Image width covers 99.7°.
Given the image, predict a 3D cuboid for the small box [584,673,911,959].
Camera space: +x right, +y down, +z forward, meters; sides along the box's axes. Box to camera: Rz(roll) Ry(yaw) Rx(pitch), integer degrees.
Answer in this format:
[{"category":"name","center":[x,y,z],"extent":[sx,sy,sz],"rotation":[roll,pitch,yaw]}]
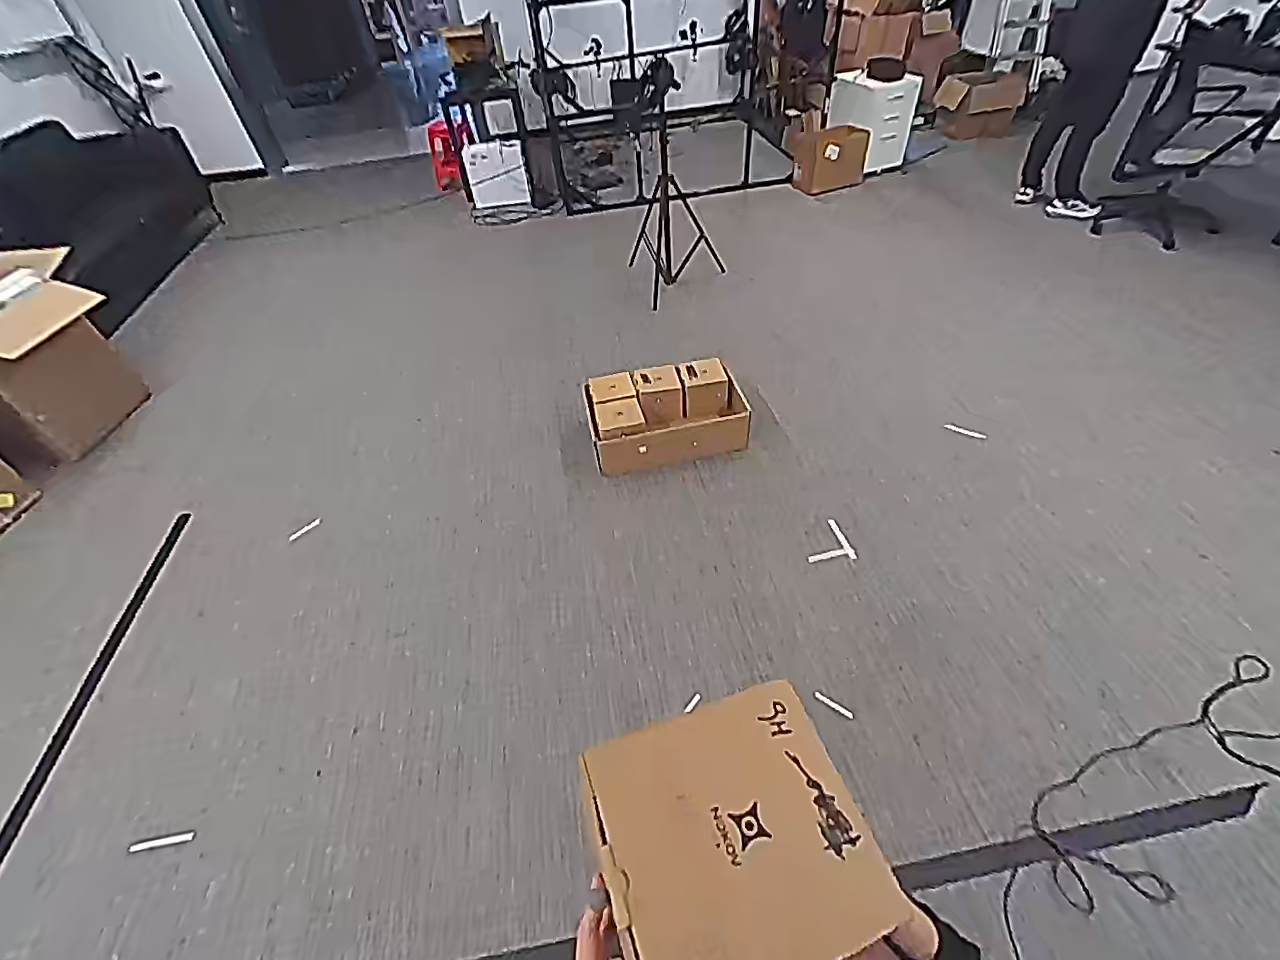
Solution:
[{"category":"small box","center":[0.063,0.286,0.428],"extent":[0.179,0.176,0.168],"rotation":[-13,51,-16]}]
